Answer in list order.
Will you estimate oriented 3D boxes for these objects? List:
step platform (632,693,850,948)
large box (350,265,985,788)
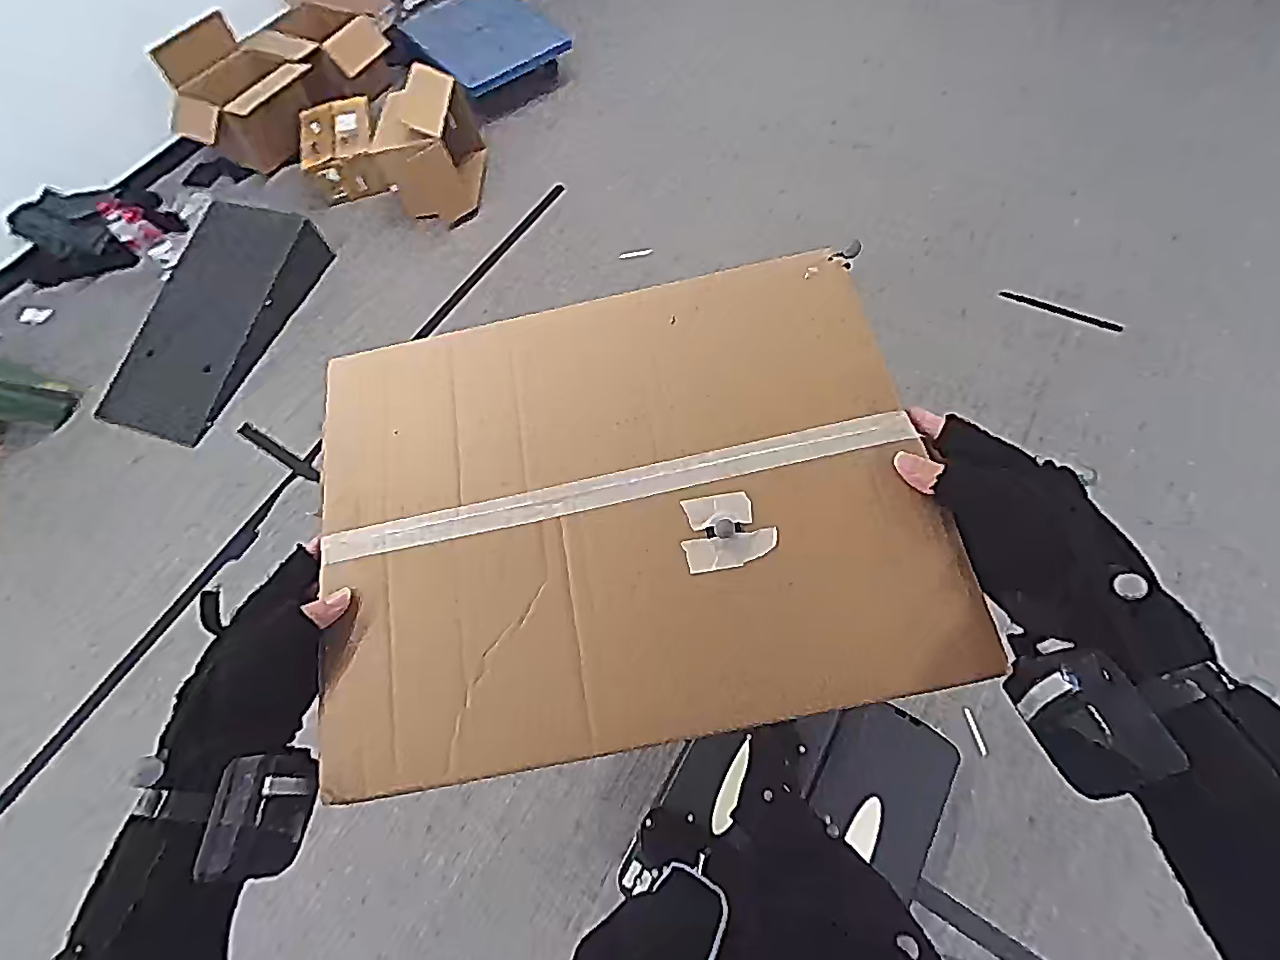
[{"bbox_3d":[0.258,0.674,1.295,0.286,0.204,0.684,26,69,17],"label":"step platform"},{"bbox_3d":[0.002,0.061,0.519,0.408,0.320,0.320,-12,70,2],"label":"large box"}]
